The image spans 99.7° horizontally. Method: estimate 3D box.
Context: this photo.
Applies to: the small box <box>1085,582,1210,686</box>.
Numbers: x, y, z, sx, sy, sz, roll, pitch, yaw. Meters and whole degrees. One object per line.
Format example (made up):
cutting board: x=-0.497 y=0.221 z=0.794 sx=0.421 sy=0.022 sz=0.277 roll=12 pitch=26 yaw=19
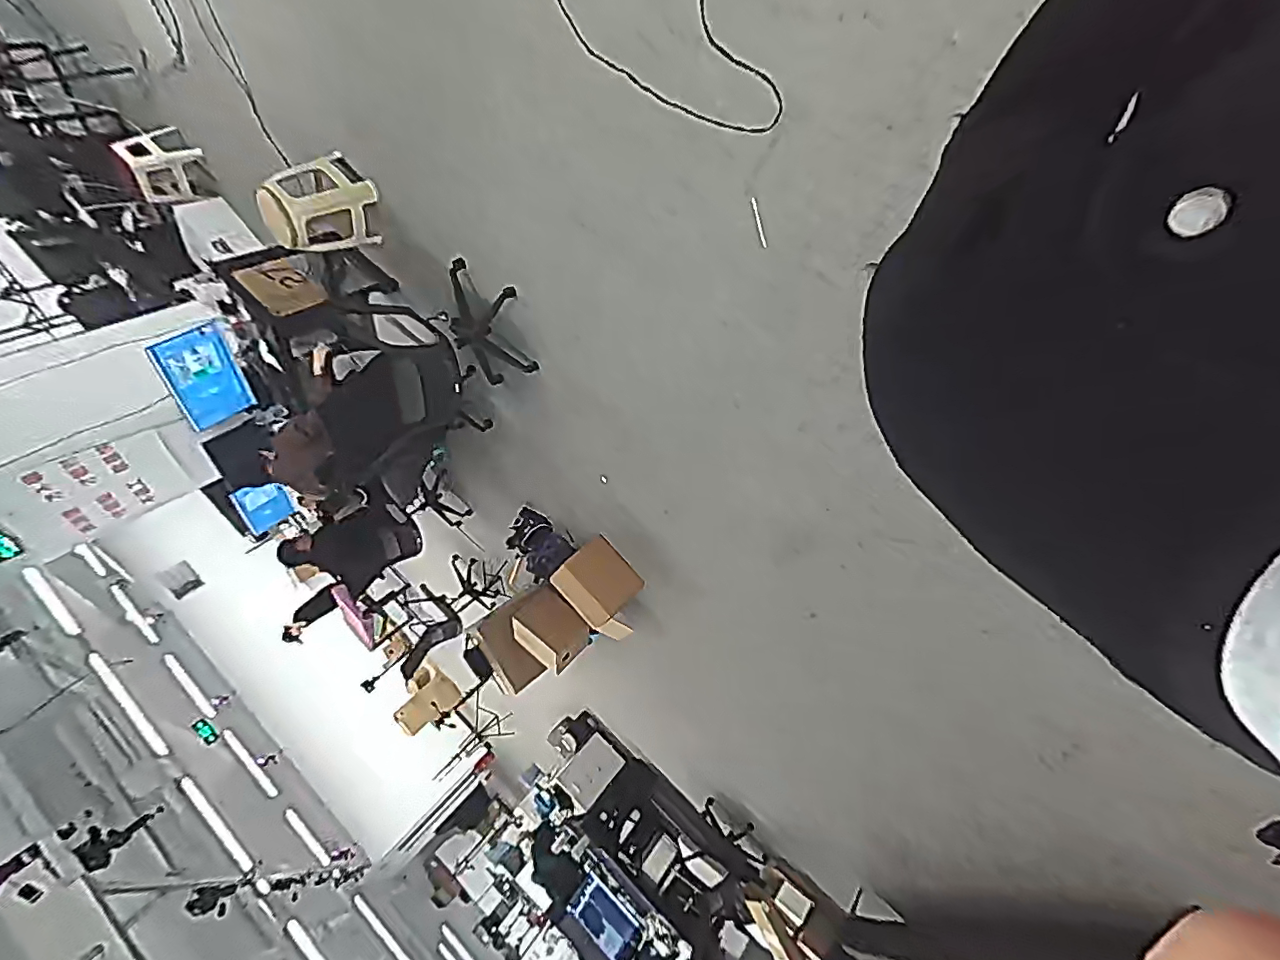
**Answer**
small box: x=1.319 y=0.398 z=1.413 sx=0.168 sy=0.176 sz=0.179 roll=40 pitch=142 yaw=13
